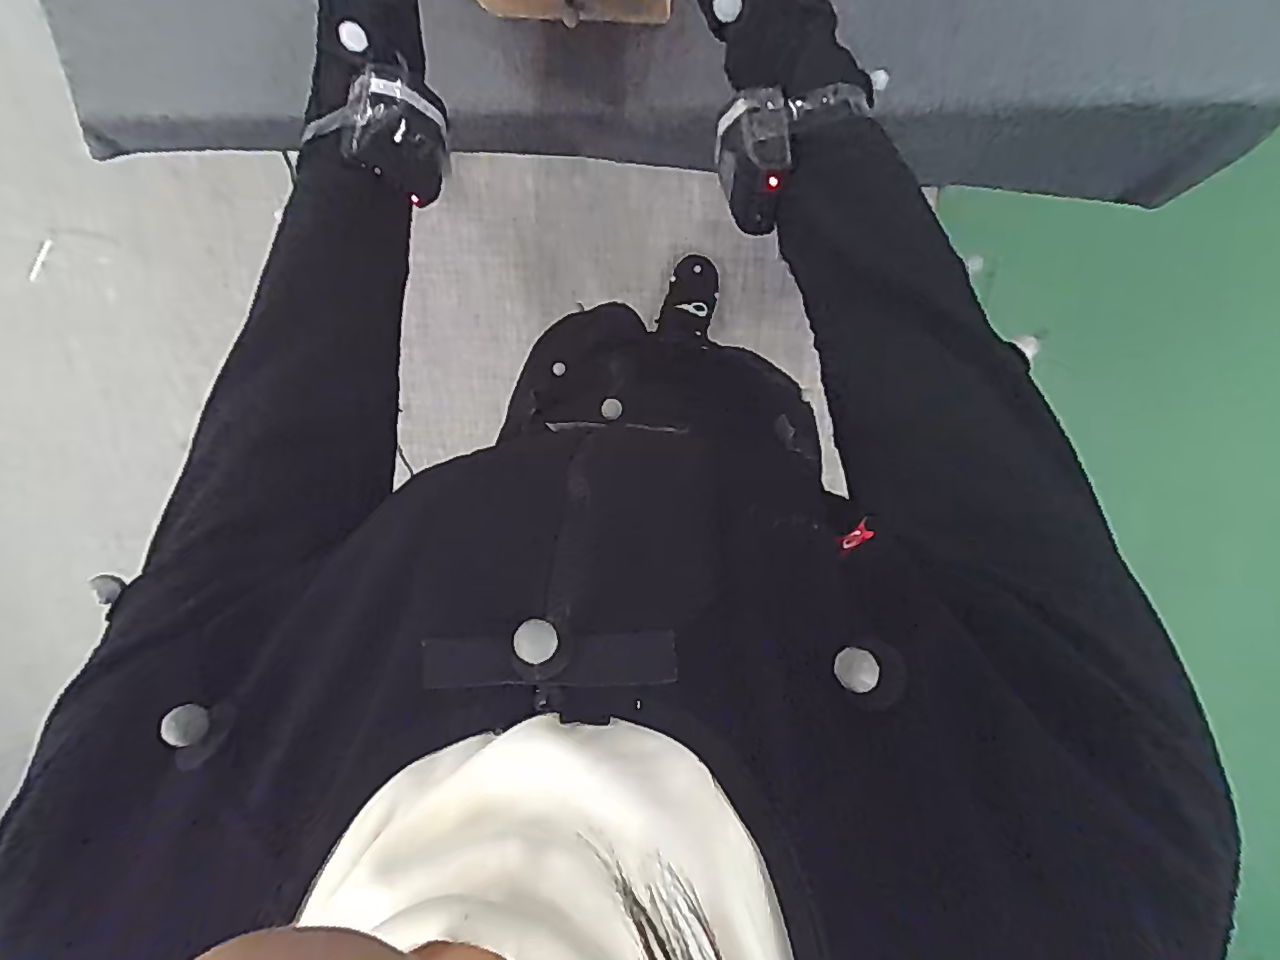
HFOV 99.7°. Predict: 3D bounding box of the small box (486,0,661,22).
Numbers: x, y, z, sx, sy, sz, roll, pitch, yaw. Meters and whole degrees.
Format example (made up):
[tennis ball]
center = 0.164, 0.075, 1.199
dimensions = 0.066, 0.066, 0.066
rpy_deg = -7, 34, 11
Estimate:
[small box]
center = -0.059, -0.490, 0.418
dimensions = 0.179, 0.176, 0.168
rpy_deg = 5, 112, 4
